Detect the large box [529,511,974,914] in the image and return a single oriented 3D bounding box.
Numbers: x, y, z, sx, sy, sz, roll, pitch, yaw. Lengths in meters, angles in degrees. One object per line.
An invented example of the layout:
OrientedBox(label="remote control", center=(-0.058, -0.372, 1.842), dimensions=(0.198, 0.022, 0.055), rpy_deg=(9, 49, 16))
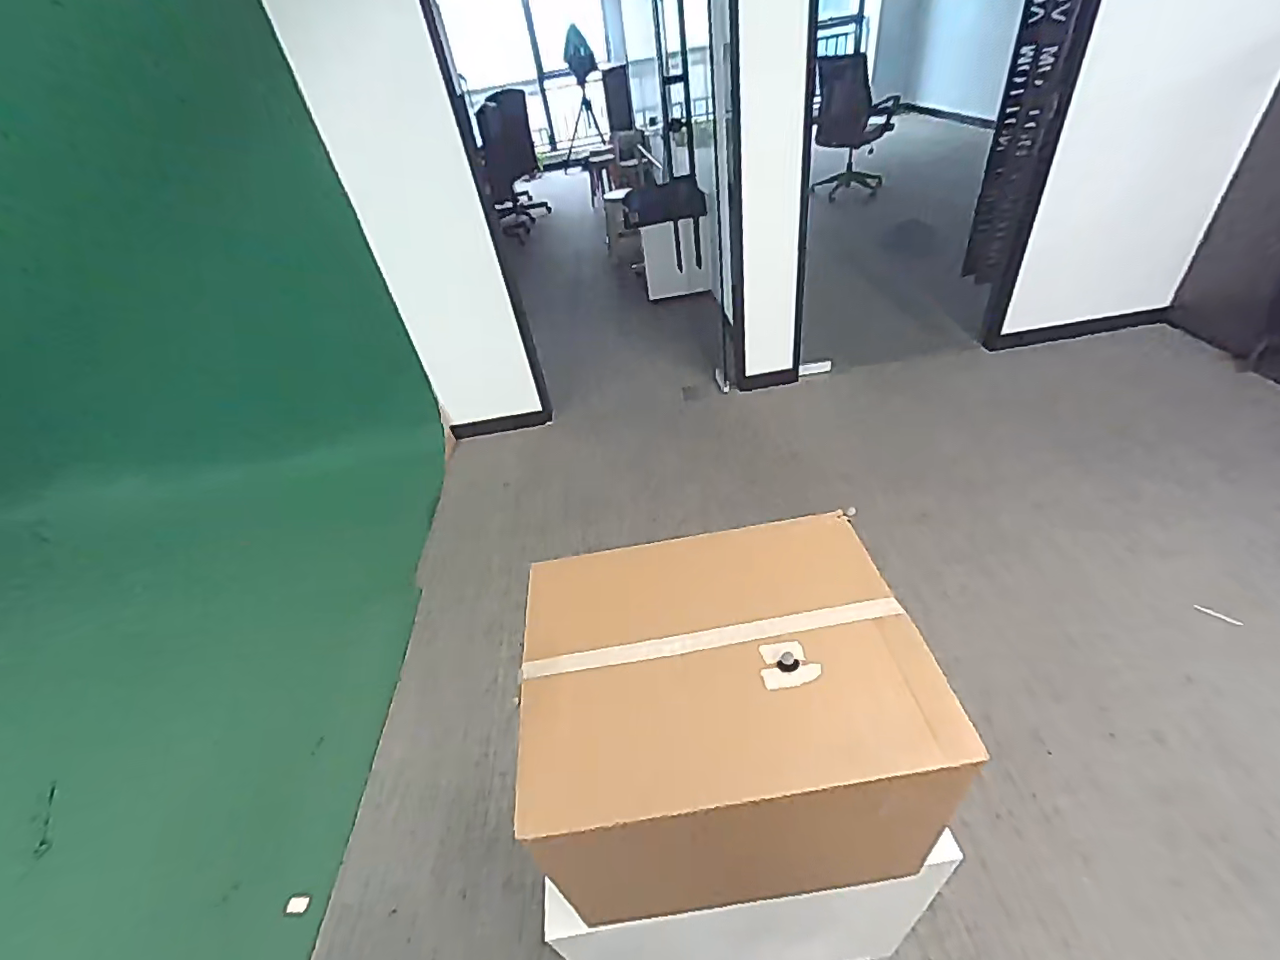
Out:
OrientedBox(label="large box", center=(0.097, 0.281, 0.672), dimensions=(0.408, 0.320, 0.320), rpy_deg=(-9, 40, -1))
